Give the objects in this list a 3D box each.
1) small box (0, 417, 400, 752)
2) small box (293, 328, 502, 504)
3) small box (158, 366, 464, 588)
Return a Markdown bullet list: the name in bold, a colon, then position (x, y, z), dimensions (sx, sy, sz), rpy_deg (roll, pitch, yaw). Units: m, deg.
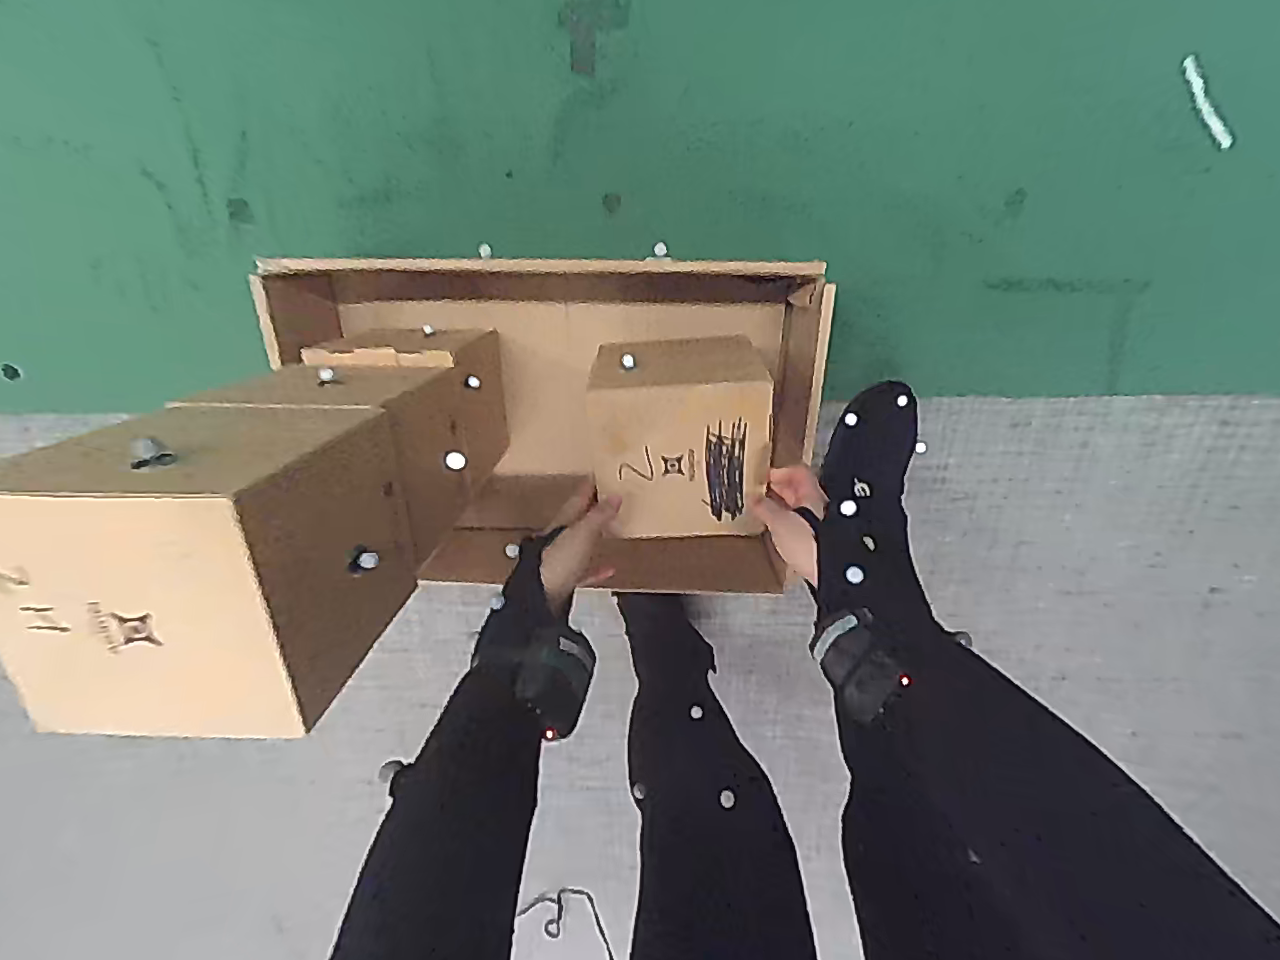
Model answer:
- **small box**: position (-0.288, 0.058, 0.375), dimensions (0.179, 0.176, 0.168), rpy_deg (1, 113, 2)
- **small box**: position (-0.280, -0.085, 0.672), dimensions (0.168, 0.176, 0.179), rpy_deg (0, 114, 2)
- **small box**: position (-0.292, -0.011, 0.526), dimensions (0.179, 0.176, 0.168), rpy_deg (1, 114, 1)
